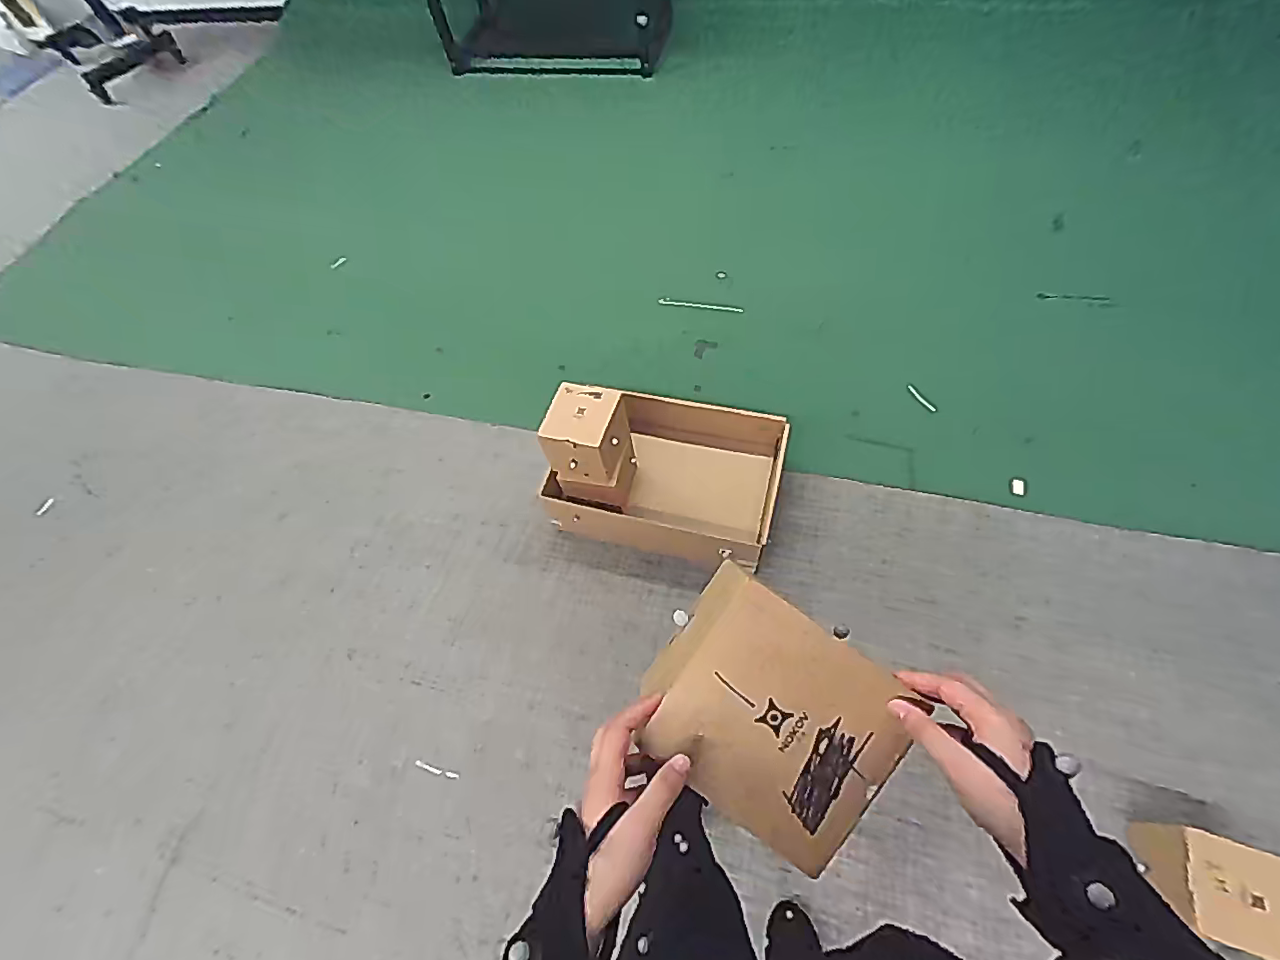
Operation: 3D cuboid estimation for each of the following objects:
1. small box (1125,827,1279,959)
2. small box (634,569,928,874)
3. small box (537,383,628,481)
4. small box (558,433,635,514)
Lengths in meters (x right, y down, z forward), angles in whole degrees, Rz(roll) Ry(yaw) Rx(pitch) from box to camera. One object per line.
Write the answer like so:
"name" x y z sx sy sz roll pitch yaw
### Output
"small box" 1.049 0.760 0.994 0.179 0.176 0.168 15 62 15
"small box" 0.116 0.199 0.508 0.179 0.176 0.168 36 89 5
"small box" -0.138 -0.118 1.390 0.168 0.176 0.179 13 63 14
"small box" -0.115 -0.026 1.524 0.168 0.176 0.179 8 63 12
